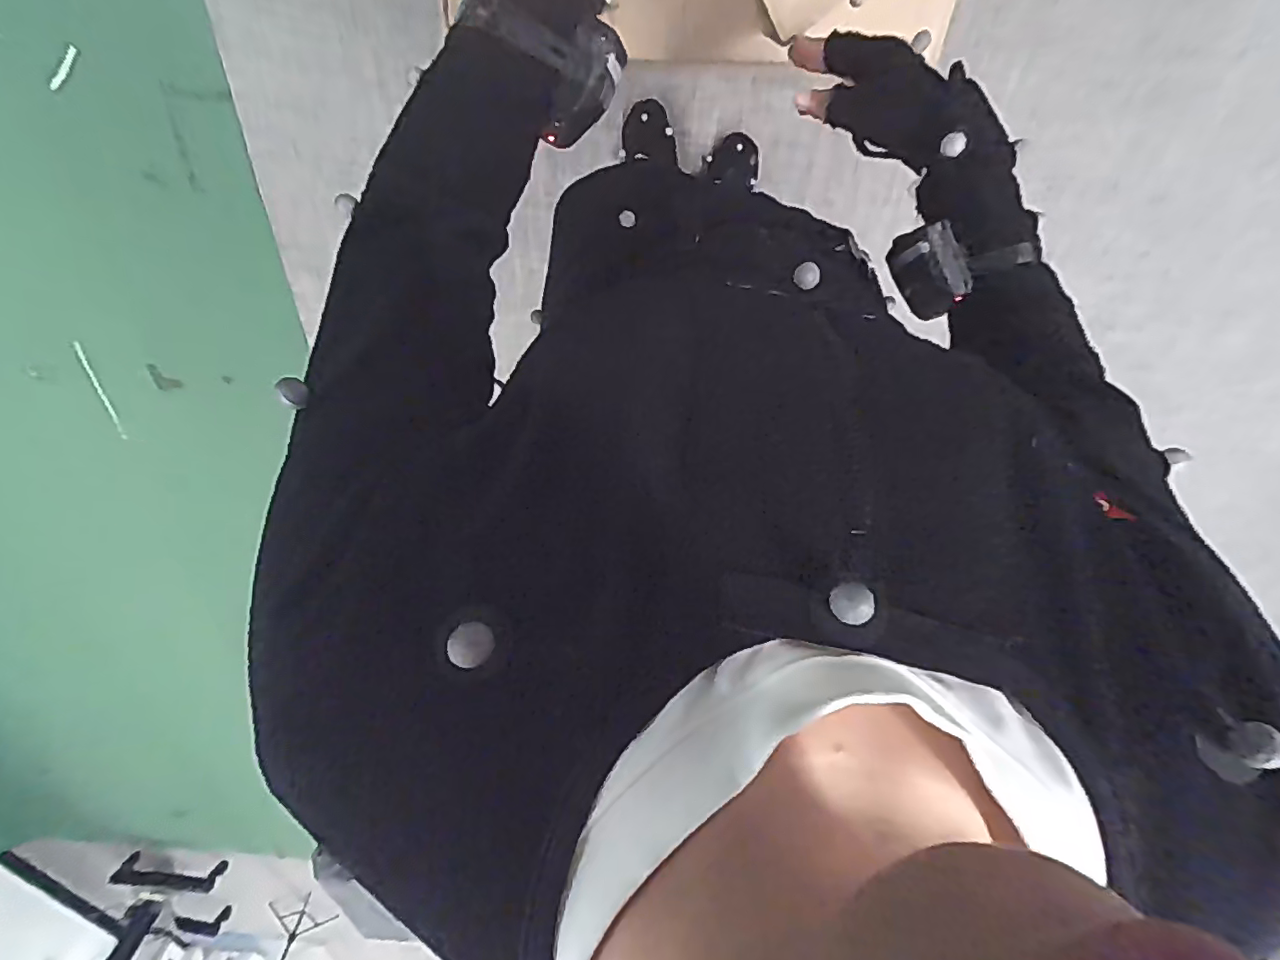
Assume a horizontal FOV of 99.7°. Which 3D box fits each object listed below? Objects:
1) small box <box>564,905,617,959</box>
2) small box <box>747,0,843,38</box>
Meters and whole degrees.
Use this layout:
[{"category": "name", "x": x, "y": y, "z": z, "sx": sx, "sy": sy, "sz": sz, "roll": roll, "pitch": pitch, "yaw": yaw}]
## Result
[{"category": "small box", "x": -0.166, "y": 1.565, "z": 1.825, "sx": 0.168, "sy": 0.176, "sz": 0.179, "roll": 2, "pitch": 127, "yaw": 1}, {"category": "small box", "x": 0.142, "y": -0.501, "z": 0.430, "sx": 0.168, "sy": 0.176, "sz": 0.179, "roll": -26, "pitch": 126, "yaw": 25}]
